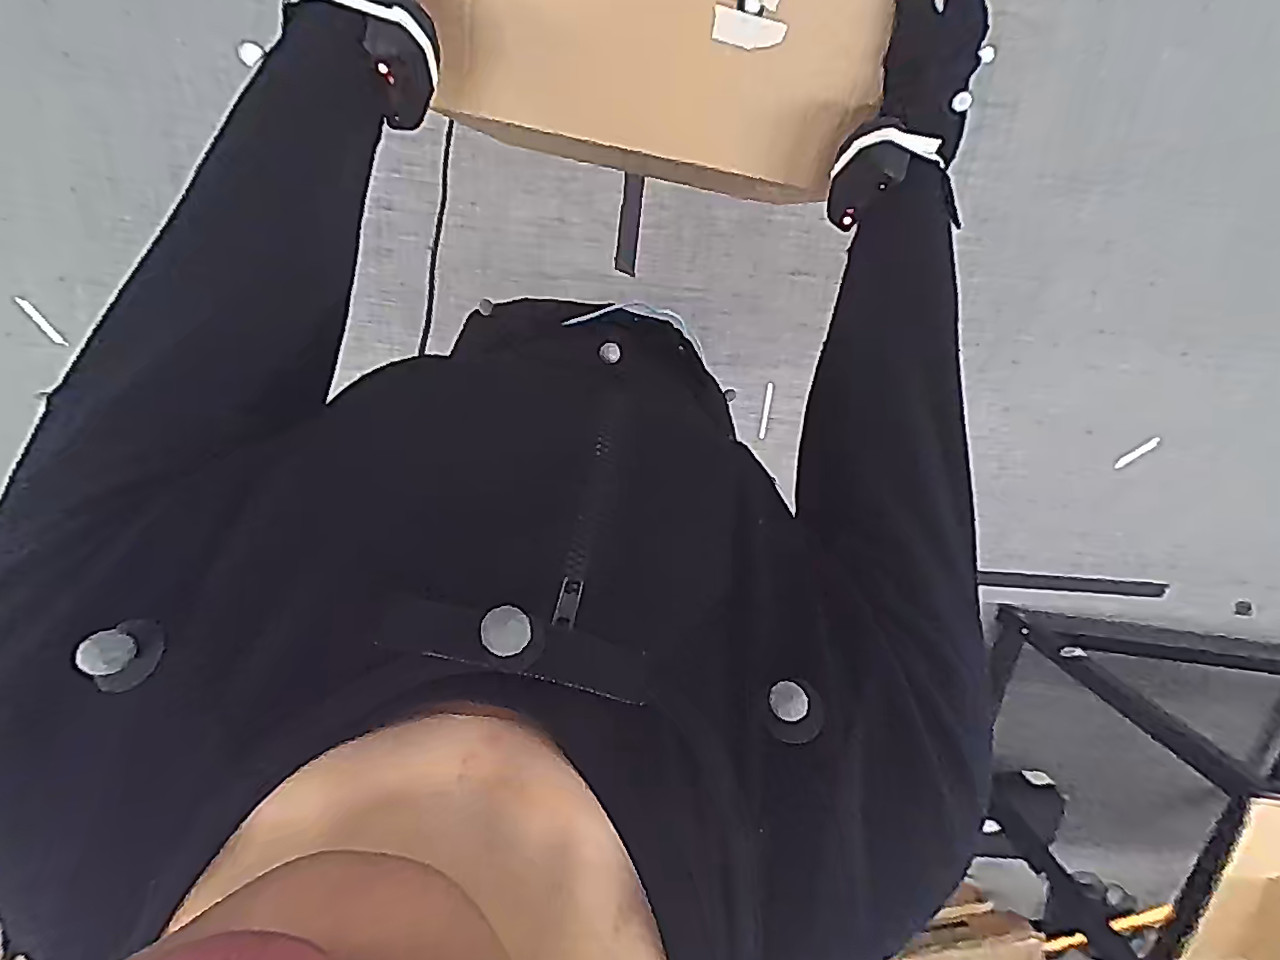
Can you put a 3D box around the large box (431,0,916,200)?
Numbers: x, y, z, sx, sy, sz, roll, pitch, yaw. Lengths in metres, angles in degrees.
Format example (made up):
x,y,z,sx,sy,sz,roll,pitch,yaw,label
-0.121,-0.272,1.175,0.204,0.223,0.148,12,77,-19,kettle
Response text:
x,y,z,sx,sy,sz,roll,pitch,yaw,label
0.032,-0.497,0.561,0.408,0.320,0.320,9,117,-5,large box
